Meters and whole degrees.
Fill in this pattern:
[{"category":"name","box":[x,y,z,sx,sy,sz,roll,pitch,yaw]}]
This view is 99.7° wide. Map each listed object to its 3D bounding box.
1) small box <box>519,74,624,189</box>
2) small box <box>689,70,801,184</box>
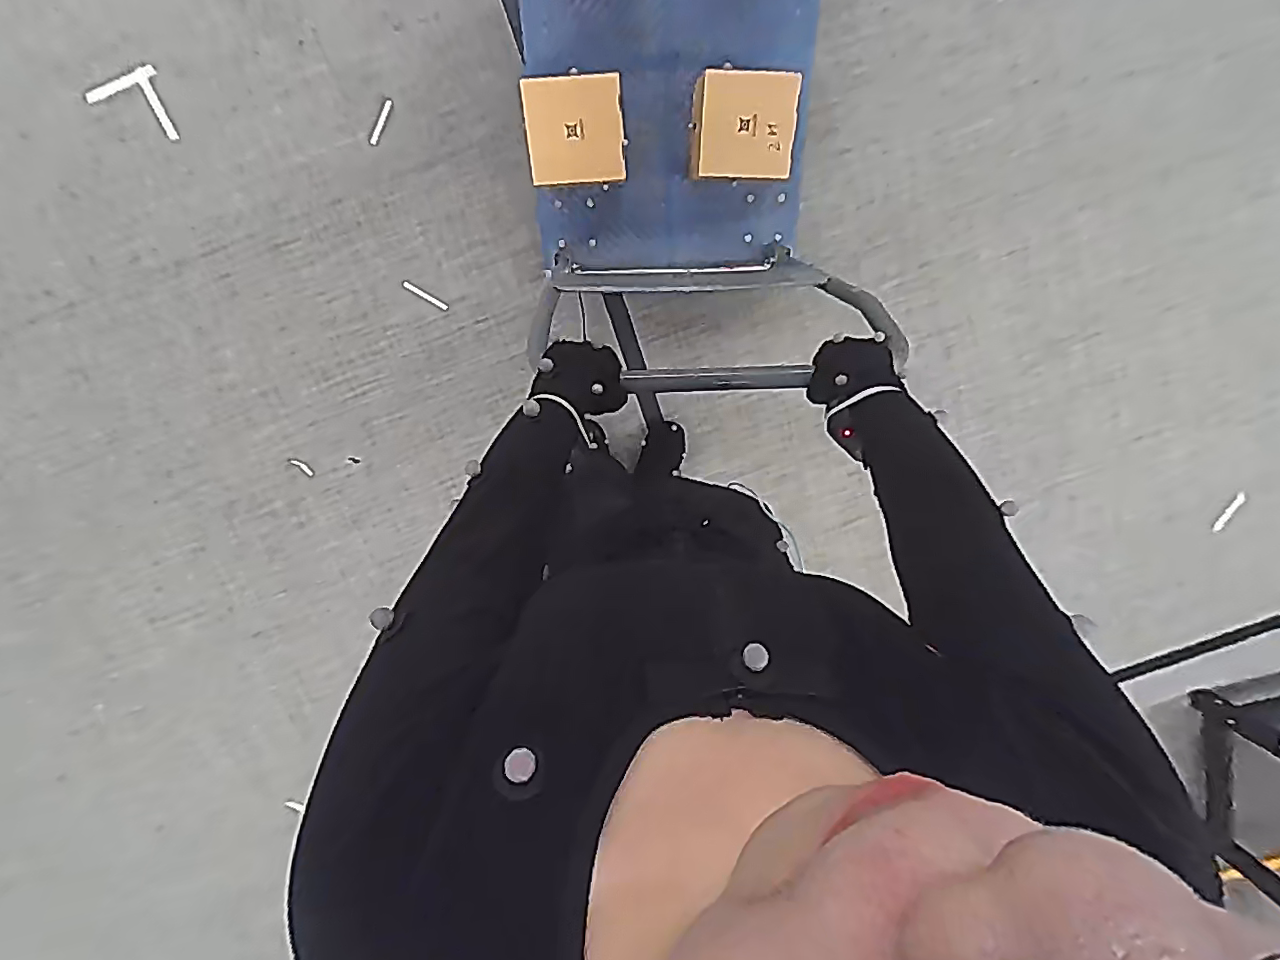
[{"category":"small box","box":[-0.124,-0.663,1.045,0.179,0.176,0.168,-5,117,-2]},{"category":"small box","box":[0.193,-0.677,1.053,0.179,0.176,0.168,1,117,-3]}]
